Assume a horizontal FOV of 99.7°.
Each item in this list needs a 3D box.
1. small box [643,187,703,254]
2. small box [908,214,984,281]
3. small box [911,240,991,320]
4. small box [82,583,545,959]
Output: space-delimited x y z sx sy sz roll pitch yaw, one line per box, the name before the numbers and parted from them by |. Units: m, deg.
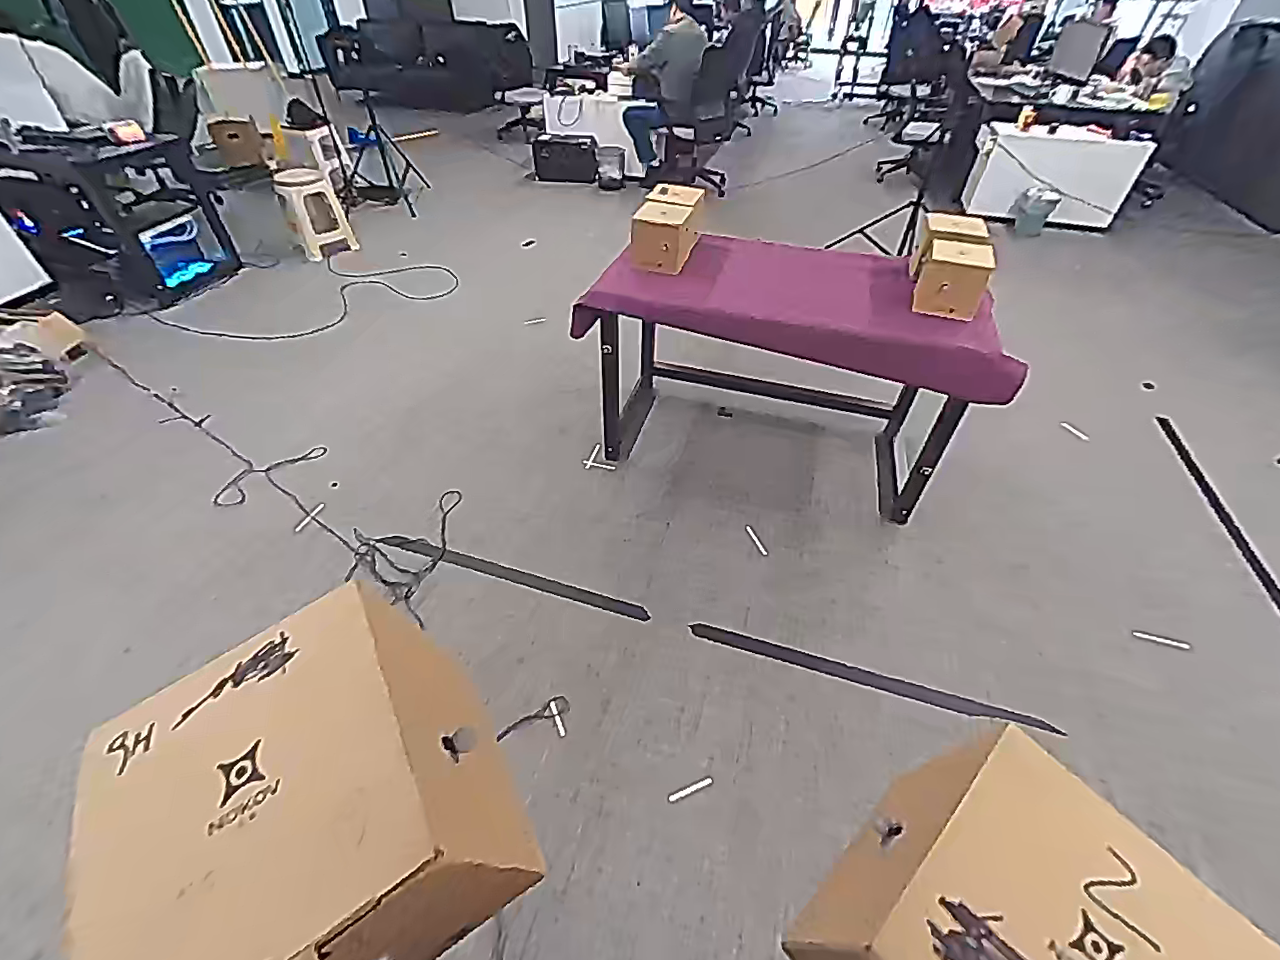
small box | 0.116 -0.941 1.962 0.179 0.176 0.168 15 48 12
small box | 1.004 -0.758 1.791 0.179 0.176 0.168 14 47 12
small box | 0.938 -0.605 1.642 0.168 0.176 0.179 16 45 16
small box | -0.182 0.204 0.338 0.168 0.176 0.179 -31 54 -13
